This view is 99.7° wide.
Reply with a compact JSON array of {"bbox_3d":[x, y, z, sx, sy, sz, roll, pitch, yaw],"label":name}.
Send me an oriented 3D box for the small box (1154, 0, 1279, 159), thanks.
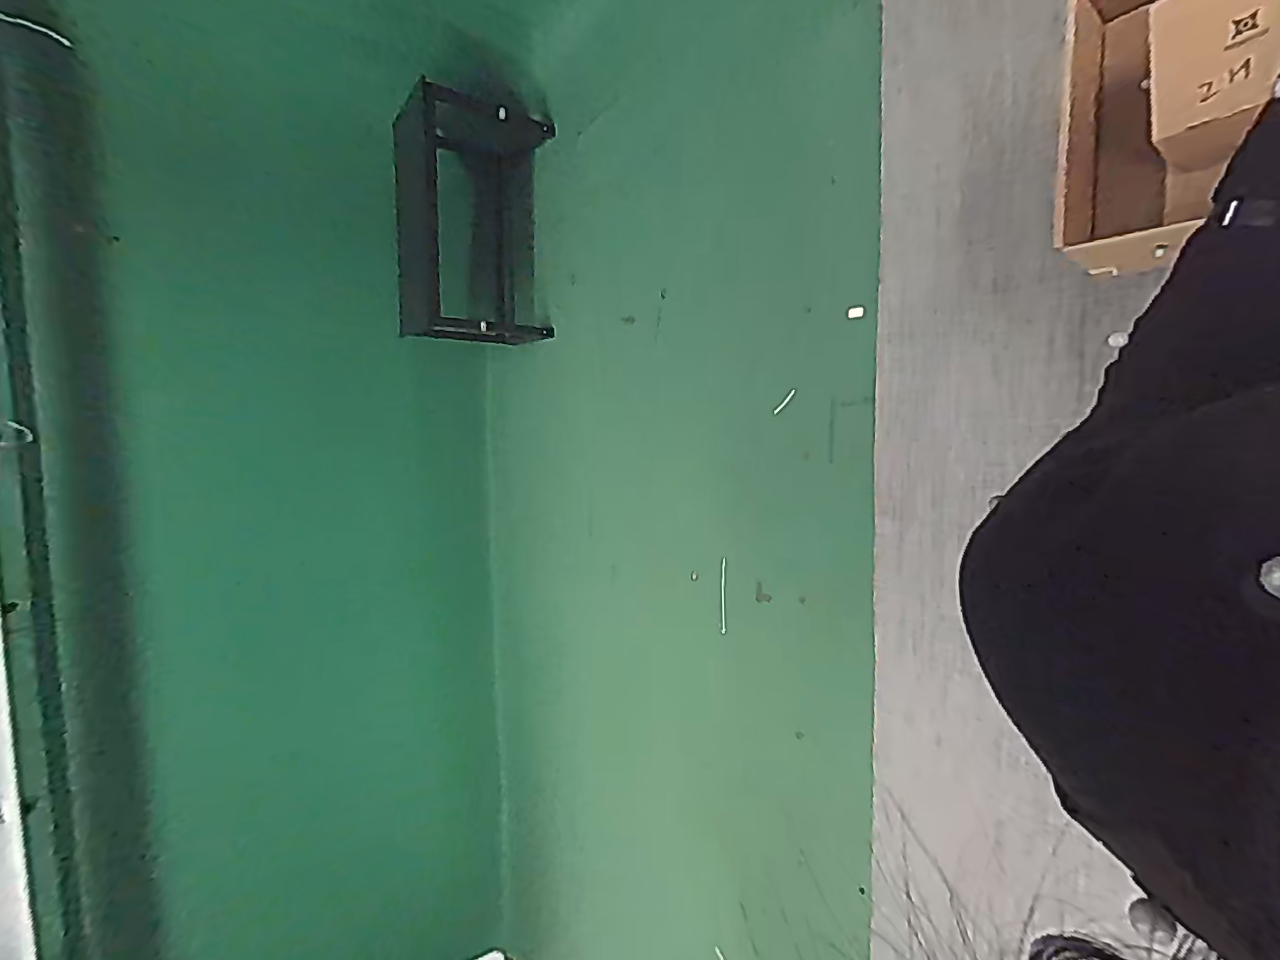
[{"bbox_3d":[0.775,-0.546,0.679,0.168,0.176,0.179,0,94,54],"label":"small box"}]
